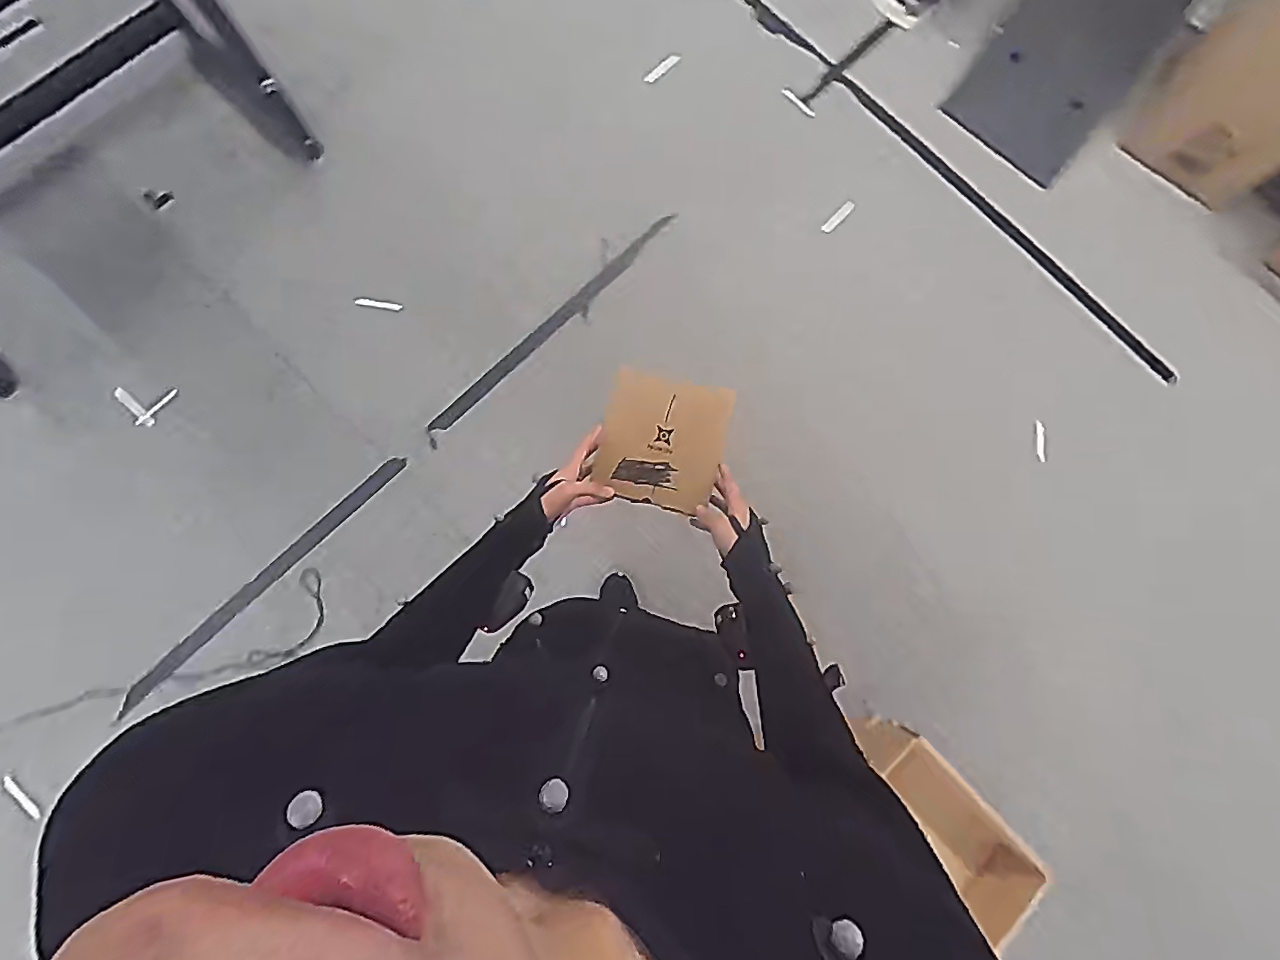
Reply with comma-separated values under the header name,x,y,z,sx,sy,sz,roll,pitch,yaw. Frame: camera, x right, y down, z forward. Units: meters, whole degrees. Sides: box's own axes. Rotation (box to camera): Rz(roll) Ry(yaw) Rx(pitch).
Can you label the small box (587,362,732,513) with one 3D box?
name,x,y,z,sx,sy,sz,roll,pitch,yaw
small box,0.029,-0.064,0.801,0.168,0.176,0.179,12,96,1
